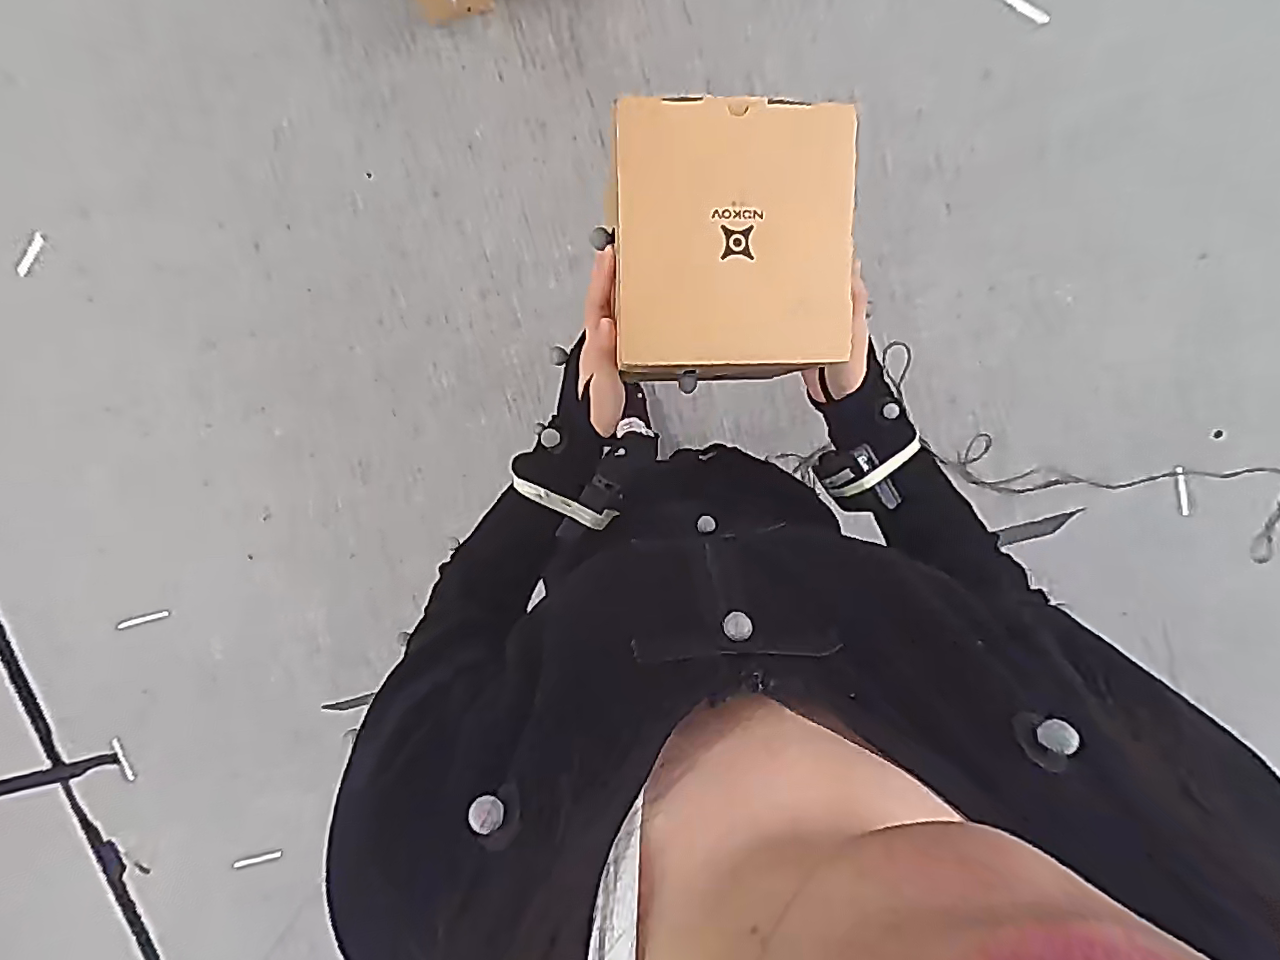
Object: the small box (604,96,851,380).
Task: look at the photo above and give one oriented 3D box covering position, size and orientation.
[{"bbox_3d":[0.056,-0.175,0.447,0.168,0.176,0.179,-2,95,-5],"label":"small box"}]
